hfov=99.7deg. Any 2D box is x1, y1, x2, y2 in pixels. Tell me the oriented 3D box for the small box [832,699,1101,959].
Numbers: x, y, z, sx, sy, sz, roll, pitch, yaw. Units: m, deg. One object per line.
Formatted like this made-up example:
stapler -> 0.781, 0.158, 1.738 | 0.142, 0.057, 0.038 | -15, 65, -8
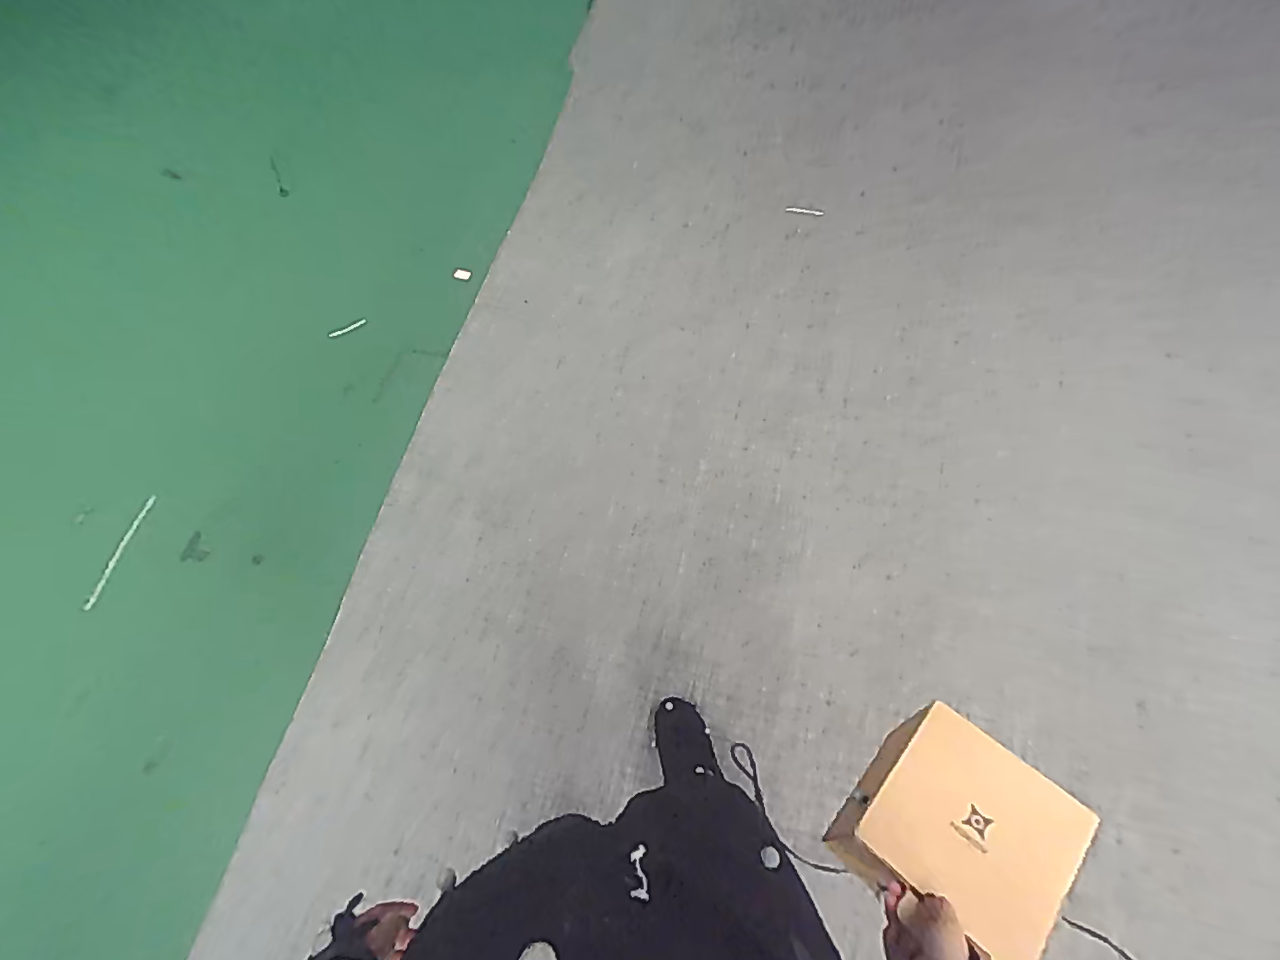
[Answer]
small box -> 0.333, 0.378, 0.586 | 0.168, 0.176, 0.179 | 36, 66, 26
